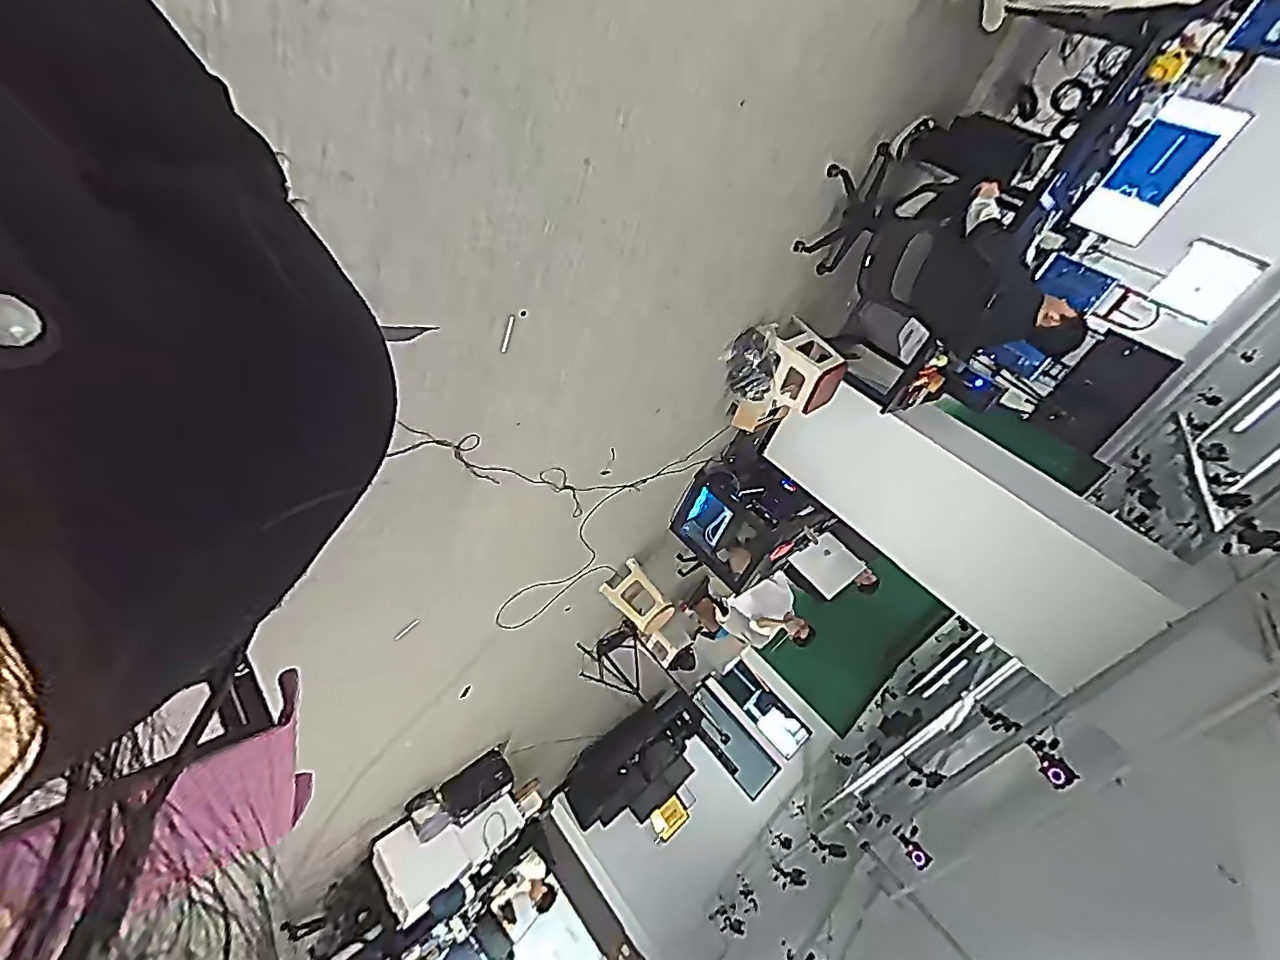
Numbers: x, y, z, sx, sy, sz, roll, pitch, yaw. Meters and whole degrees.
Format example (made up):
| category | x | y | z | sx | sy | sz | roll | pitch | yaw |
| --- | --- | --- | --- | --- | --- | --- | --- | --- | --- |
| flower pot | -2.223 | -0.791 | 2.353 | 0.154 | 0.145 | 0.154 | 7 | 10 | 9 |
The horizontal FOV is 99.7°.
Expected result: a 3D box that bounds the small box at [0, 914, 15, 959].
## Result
| category | x | y | z | sx | sy | sz | roll | pitch | yaw |
| --- | --- | --- | --- | --- | --- | --- | --- | --- | --- |
| small box | -1.202 | 0.877 | 0.922 | 0.168 | 0.176 | 0.179 | -16 | 141 | -49 |
